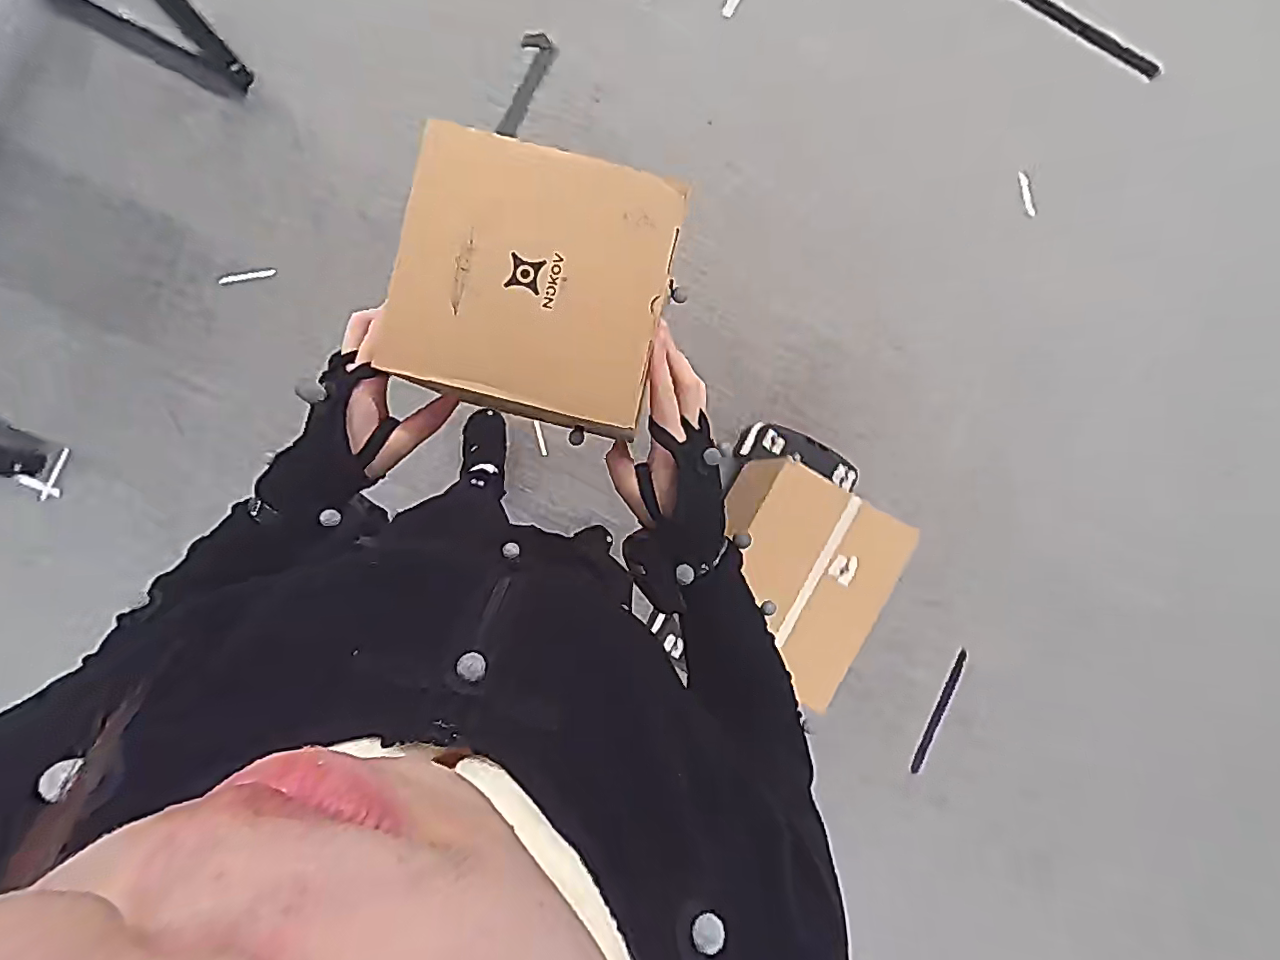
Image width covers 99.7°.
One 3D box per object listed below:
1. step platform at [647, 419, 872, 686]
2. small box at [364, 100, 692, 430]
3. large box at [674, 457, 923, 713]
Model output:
[{"bbox_3d":[0.305,0.180,1.418,0.286,0.204,0.684,32,87,-3],"label":"step platform"},{"bbox_3d":[-0.070,-0.137,0.414,0.179,0.176,0.168,13,90,0],"label":"small box"},{"bbox_3d":[0.313,0.205,1.179,0.320,0.320,0.408,30,87,-4],"label":"large box"}]
